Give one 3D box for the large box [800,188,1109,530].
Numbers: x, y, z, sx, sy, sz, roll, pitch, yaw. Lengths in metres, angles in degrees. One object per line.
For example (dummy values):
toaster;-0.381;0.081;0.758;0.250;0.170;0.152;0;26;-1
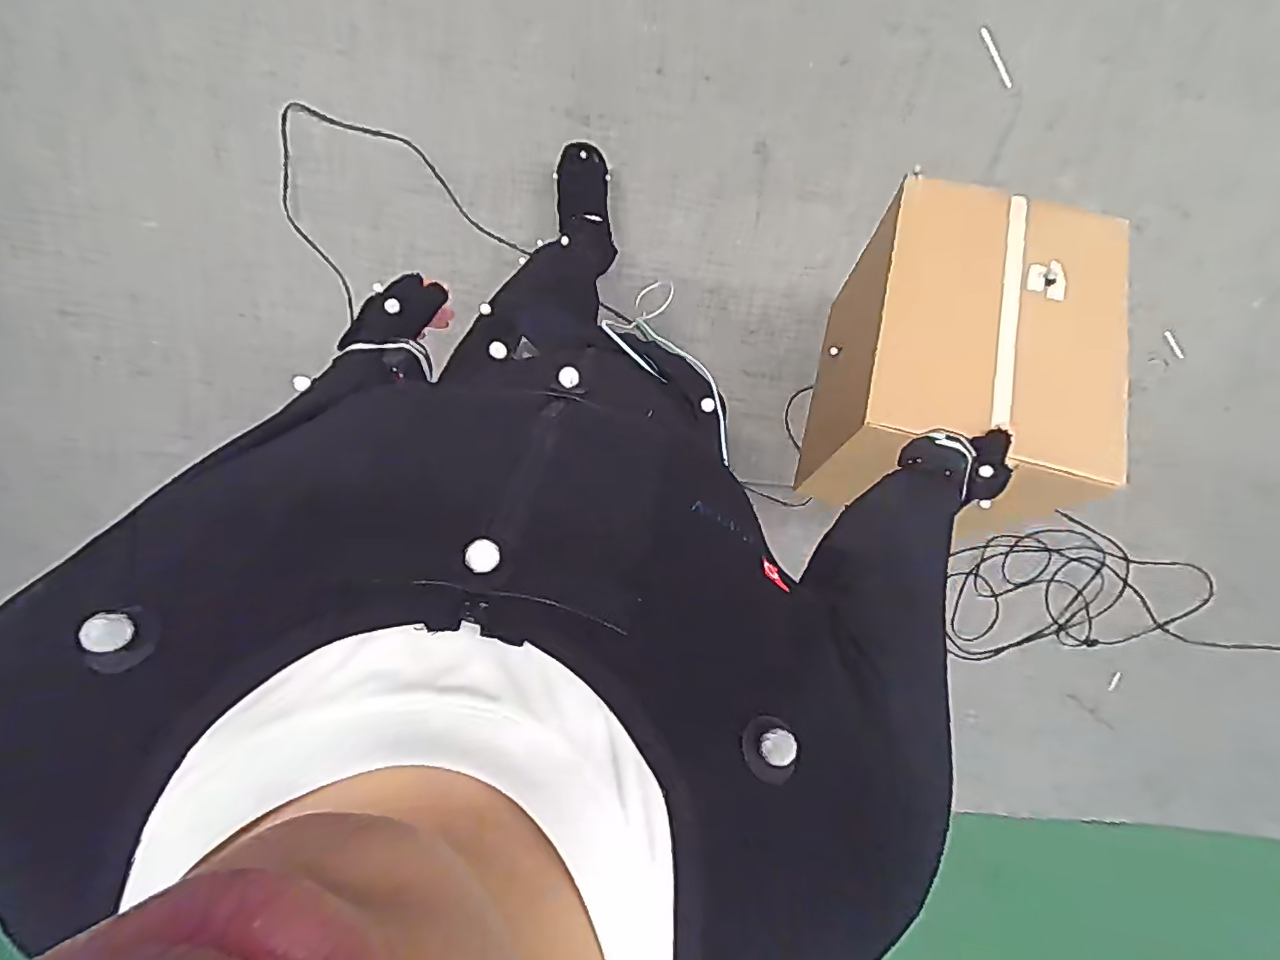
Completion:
large box;0.476;-0.169;0.872;0.320;0.320;0.408;15;73;3
